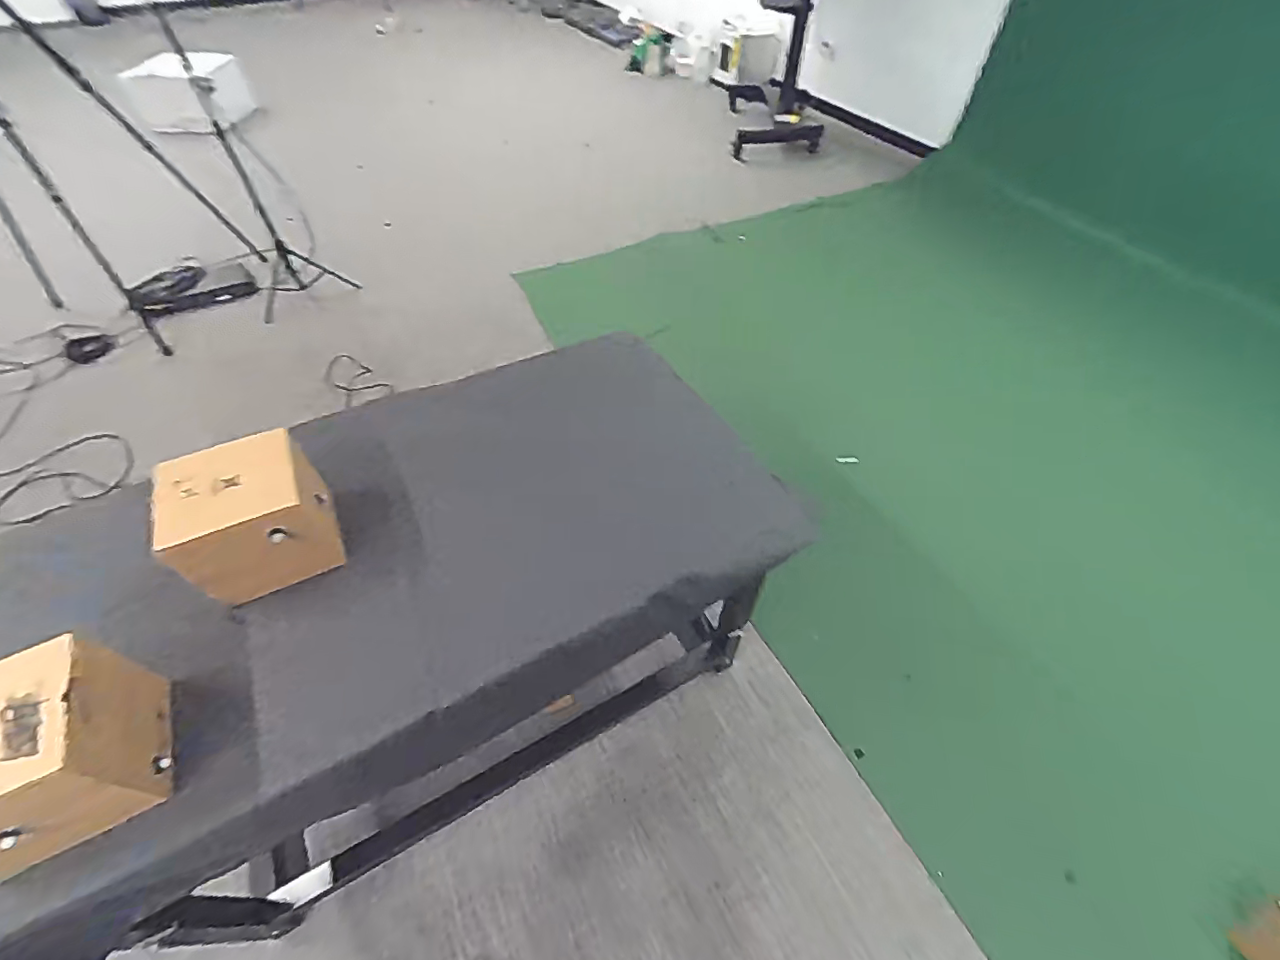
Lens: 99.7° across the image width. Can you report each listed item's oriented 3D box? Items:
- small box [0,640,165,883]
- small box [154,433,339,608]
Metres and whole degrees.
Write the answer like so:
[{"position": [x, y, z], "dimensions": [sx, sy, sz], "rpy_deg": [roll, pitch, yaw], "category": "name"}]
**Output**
[{"position": [-0.683, 0.318, 0.610], "dimensions": [0.179, 0.176, 0.168], "rpy_deg": [-24, 55, -19], "category": "small box"}, {"position": [-0.582, 0.062, 0.820], "dimensions": [0.179, 0.176, 0.168], "rpy_deg": [-22, 55, -18], "category": "small box"}]
